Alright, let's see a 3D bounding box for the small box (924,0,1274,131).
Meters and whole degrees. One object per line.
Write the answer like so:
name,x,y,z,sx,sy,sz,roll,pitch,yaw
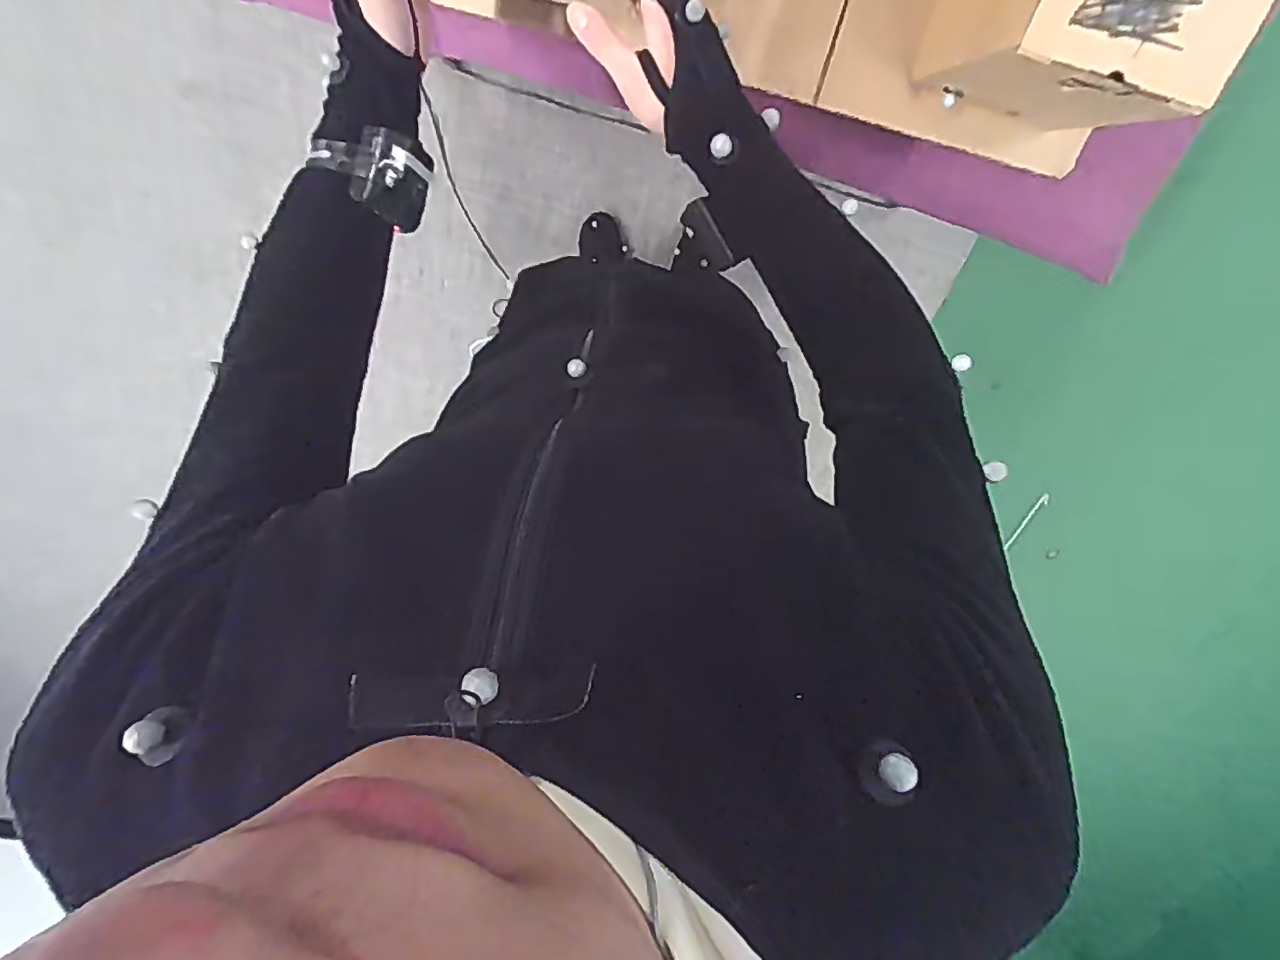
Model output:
small box,0.364,-0.401,0.431,0.168,0.176,0.179,10,117,-9
